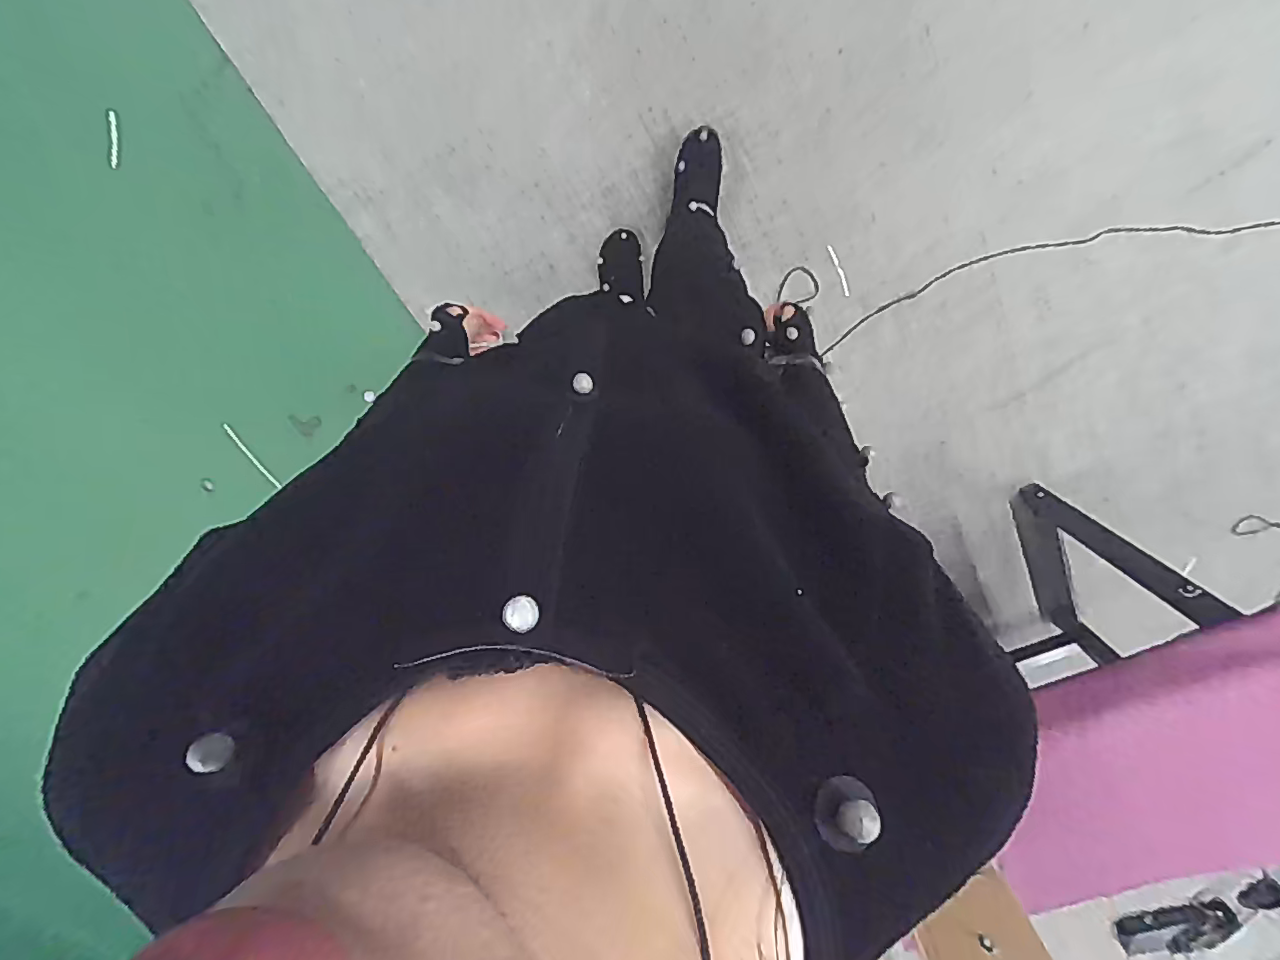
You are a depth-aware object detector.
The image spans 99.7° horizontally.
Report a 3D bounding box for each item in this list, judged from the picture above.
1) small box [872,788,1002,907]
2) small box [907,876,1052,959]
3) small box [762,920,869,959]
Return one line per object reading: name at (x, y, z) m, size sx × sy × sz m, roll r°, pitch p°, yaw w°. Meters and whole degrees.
small box at (0.583, 0.738, 1.040) m, size 0.168 × 0.176 × 0.179 m, roll -32°, pitch 112°, yaw 13°
small box at (0.560, 0.796, 0.885) m, size 0.179 × 0.176 × 0.168 m, roll -19°, pitch 115°, yaw 7°
small box at (0.325, 0.916, 0.938) m, size 0.179 × 0.176 × 0.168 m, roll -25°, pitch 113°, yaw 9°
